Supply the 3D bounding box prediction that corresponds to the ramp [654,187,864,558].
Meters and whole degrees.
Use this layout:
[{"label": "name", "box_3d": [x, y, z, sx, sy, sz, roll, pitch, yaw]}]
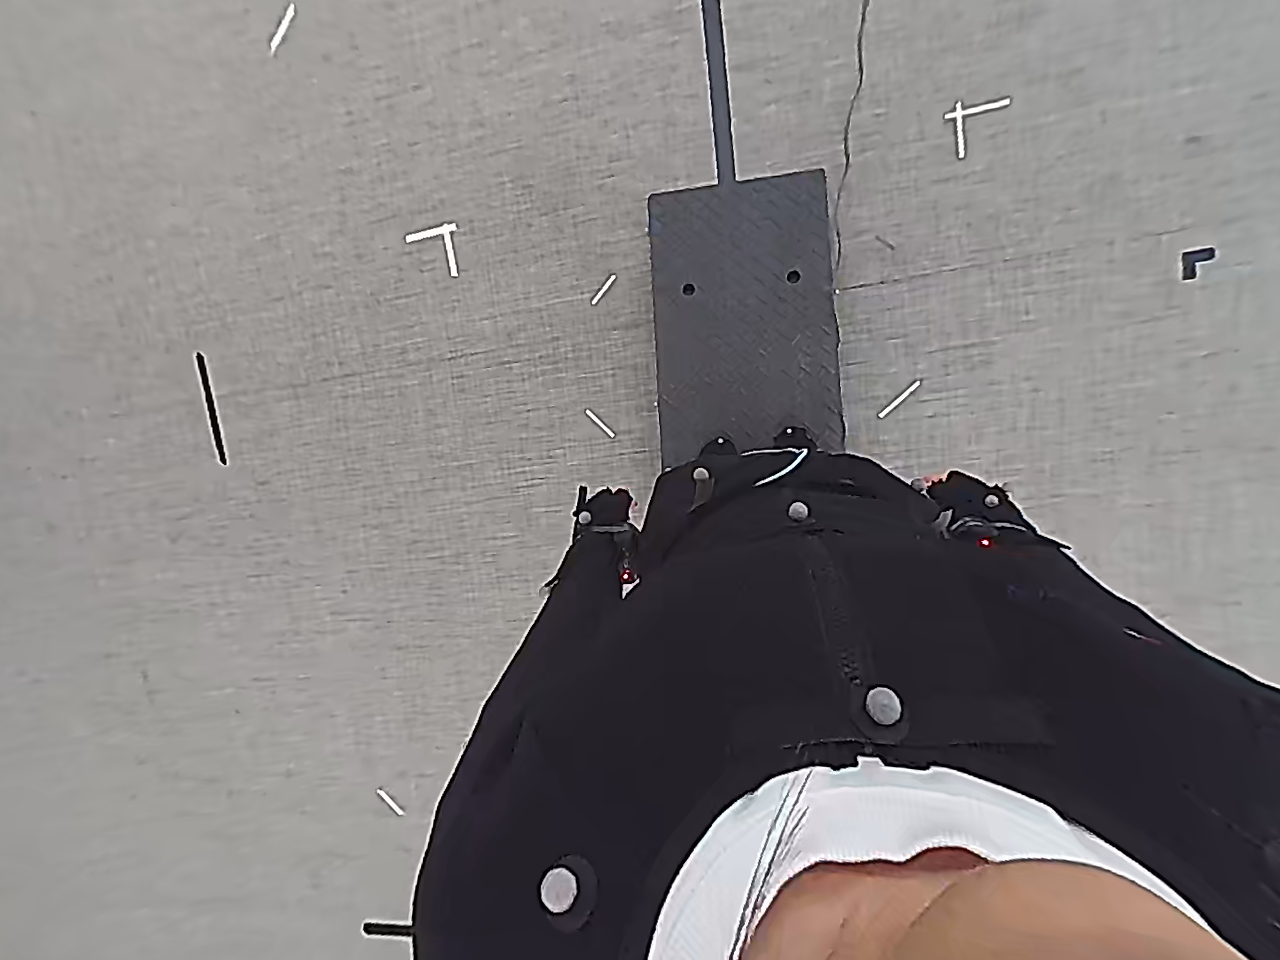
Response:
[{"label": "ramp", "box_3d": [0.307, -0.298, 1.494, 0.509, 0.206, 0.991, -7, 94, 12]}]
